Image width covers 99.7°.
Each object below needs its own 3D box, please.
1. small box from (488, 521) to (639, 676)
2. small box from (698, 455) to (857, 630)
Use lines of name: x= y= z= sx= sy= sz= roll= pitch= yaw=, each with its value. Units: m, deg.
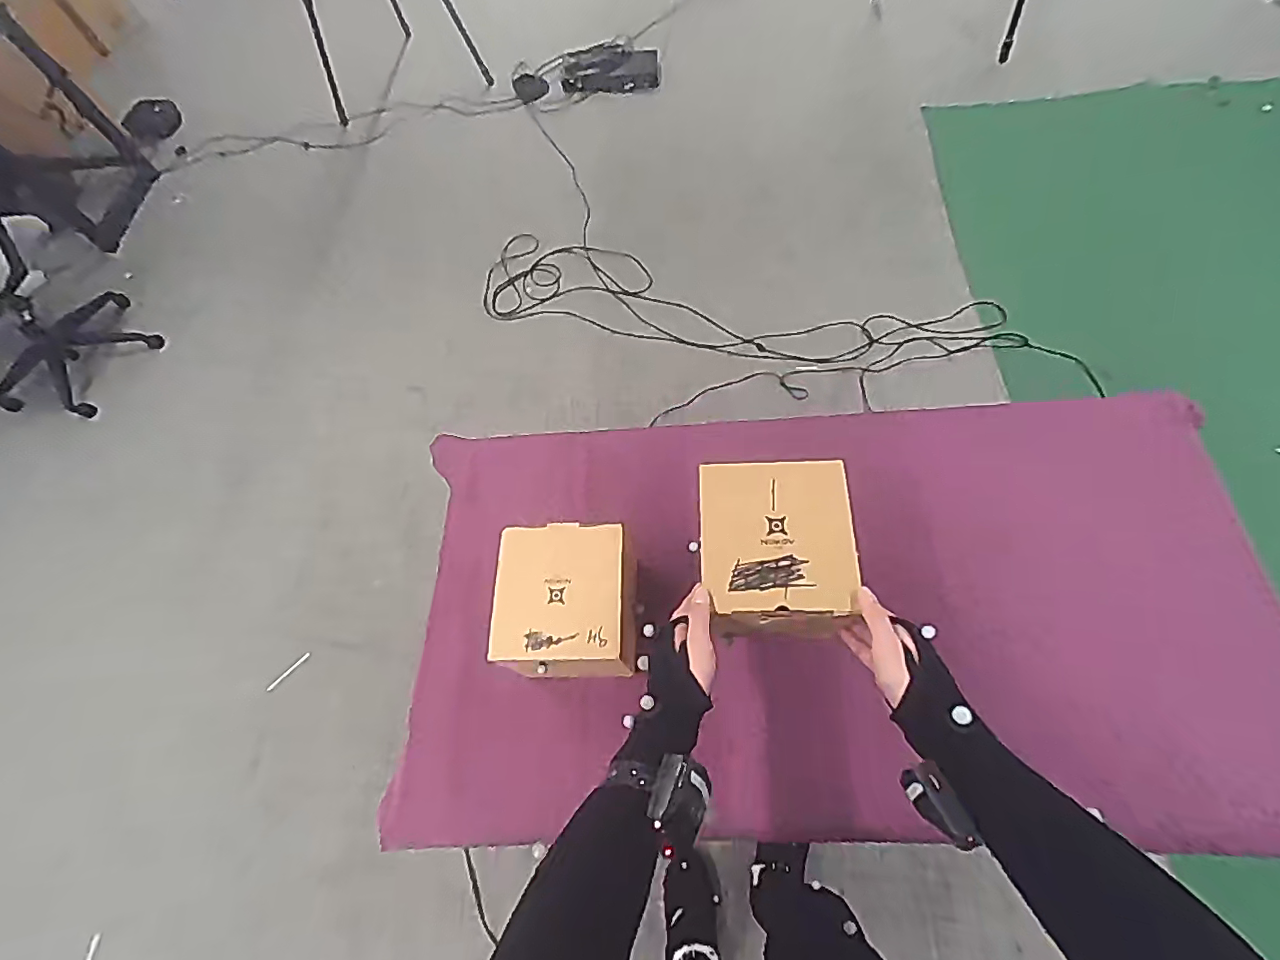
small box: x=-0.094 y=0.171 z=0.759 sx=0.168 sy=0.176 sz=0.179 roll=-2 pitch=63 yaw=7
small box: x=0.157 y=0.085 z=0.669 sx=0.168 sy=0.176 sz=0.179 roll=-1 pitch=65 yaw=7
